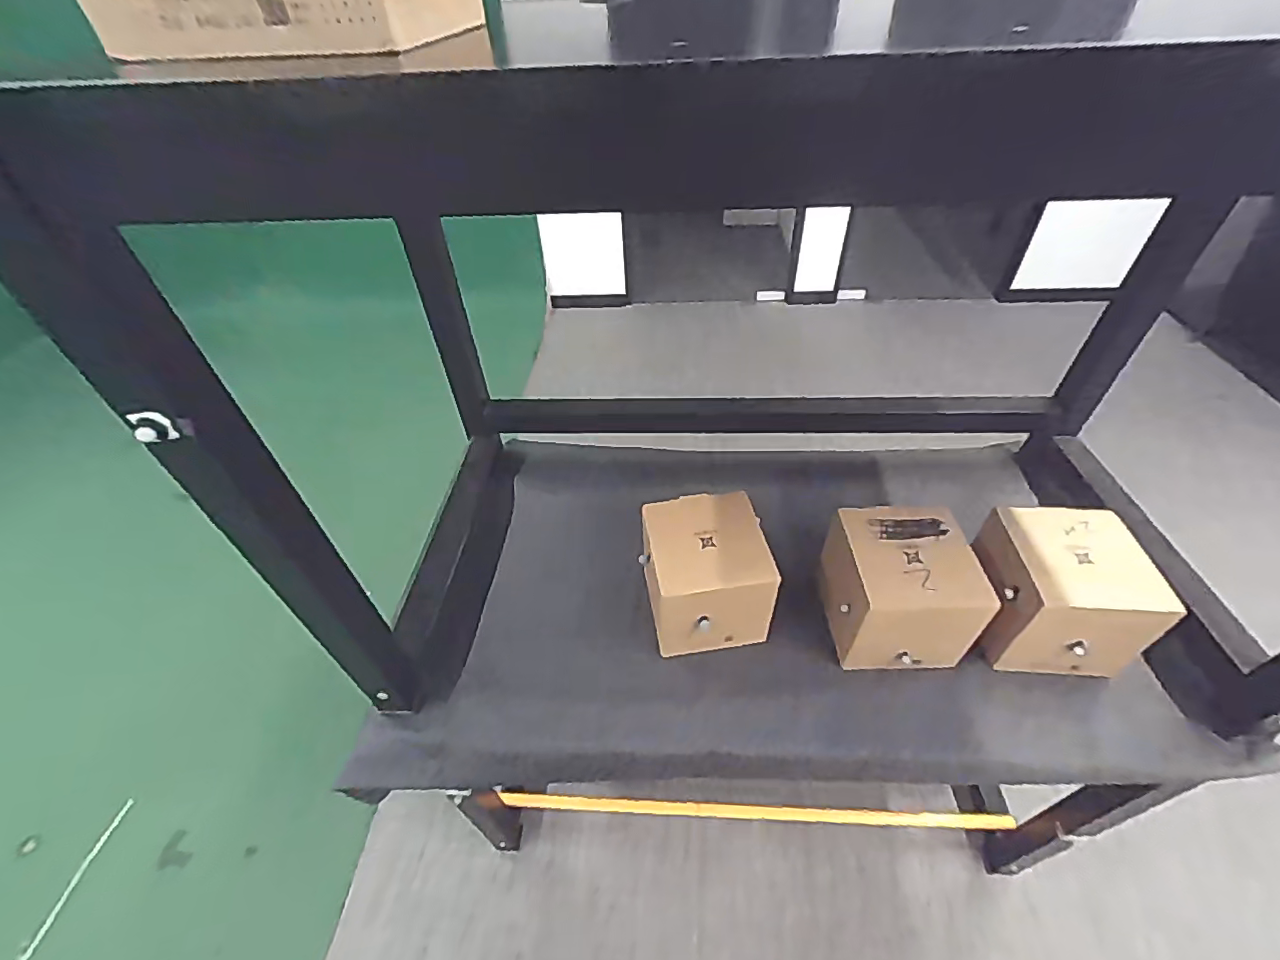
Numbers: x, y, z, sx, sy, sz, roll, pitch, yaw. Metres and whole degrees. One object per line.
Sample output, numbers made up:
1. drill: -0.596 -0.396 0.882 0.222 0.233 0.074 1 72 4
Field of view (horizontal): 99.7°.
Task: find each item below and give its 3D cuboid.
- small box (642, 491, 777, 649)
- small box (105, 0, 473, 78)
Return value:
1. small box: 0.098 0.144 0.835 0.168 0.176 0.179 -7 44 -5
2. small box: -0.208 -0.343 0.304 0.168 0.176 0.179 1 45 4
